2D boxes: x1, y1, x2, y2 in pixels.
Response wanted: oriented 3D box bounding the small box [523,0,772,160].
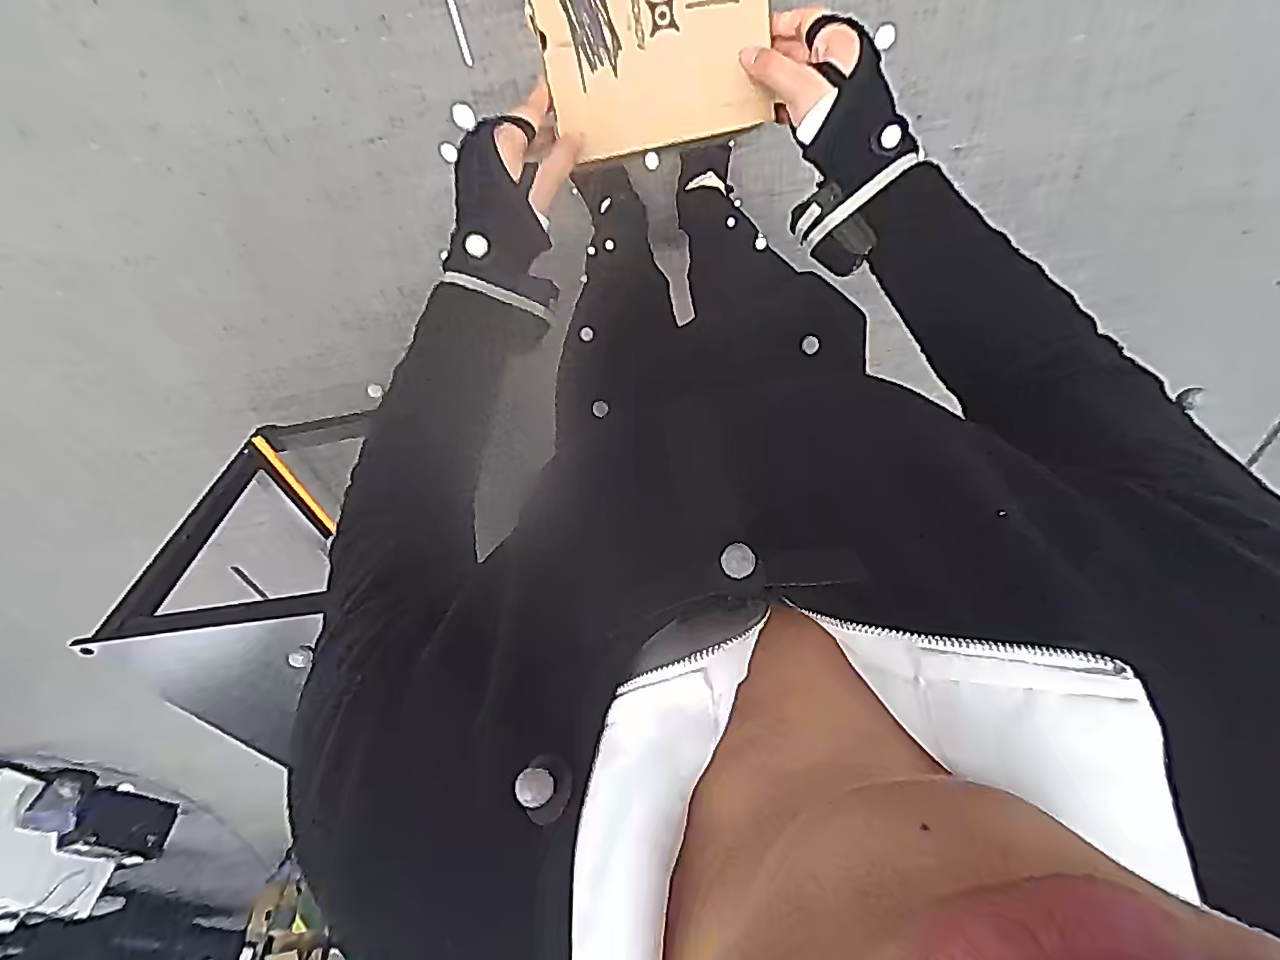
[{"bbox_3d":[0.002,-0.380,0.457,0.179,0.176,0.168,-10,120,2],"label":"small box"}]
